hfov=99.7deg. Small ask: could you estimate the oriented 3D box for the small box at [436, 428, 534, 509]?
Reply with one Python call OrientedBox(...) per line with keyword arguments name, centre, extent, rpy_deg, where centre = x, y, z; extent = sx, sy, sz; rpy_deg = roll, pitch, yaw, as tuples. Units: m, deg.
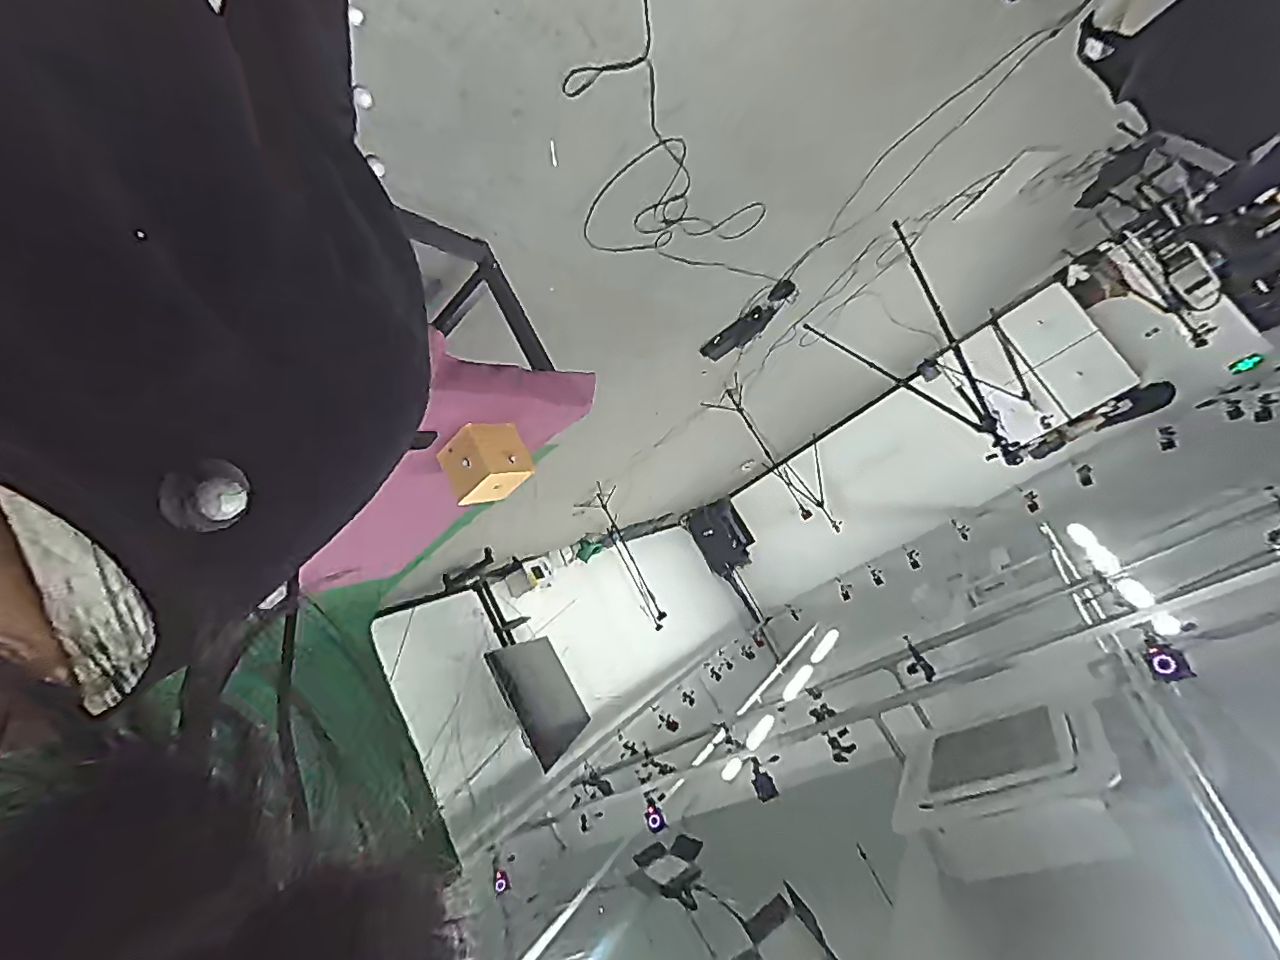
OrientedBox(name="small box", centre=(-0.444, -0.038, 1.536), extent=(0.168, 0.176, 0.179), rpy_deg=(-37, 165, 29))
